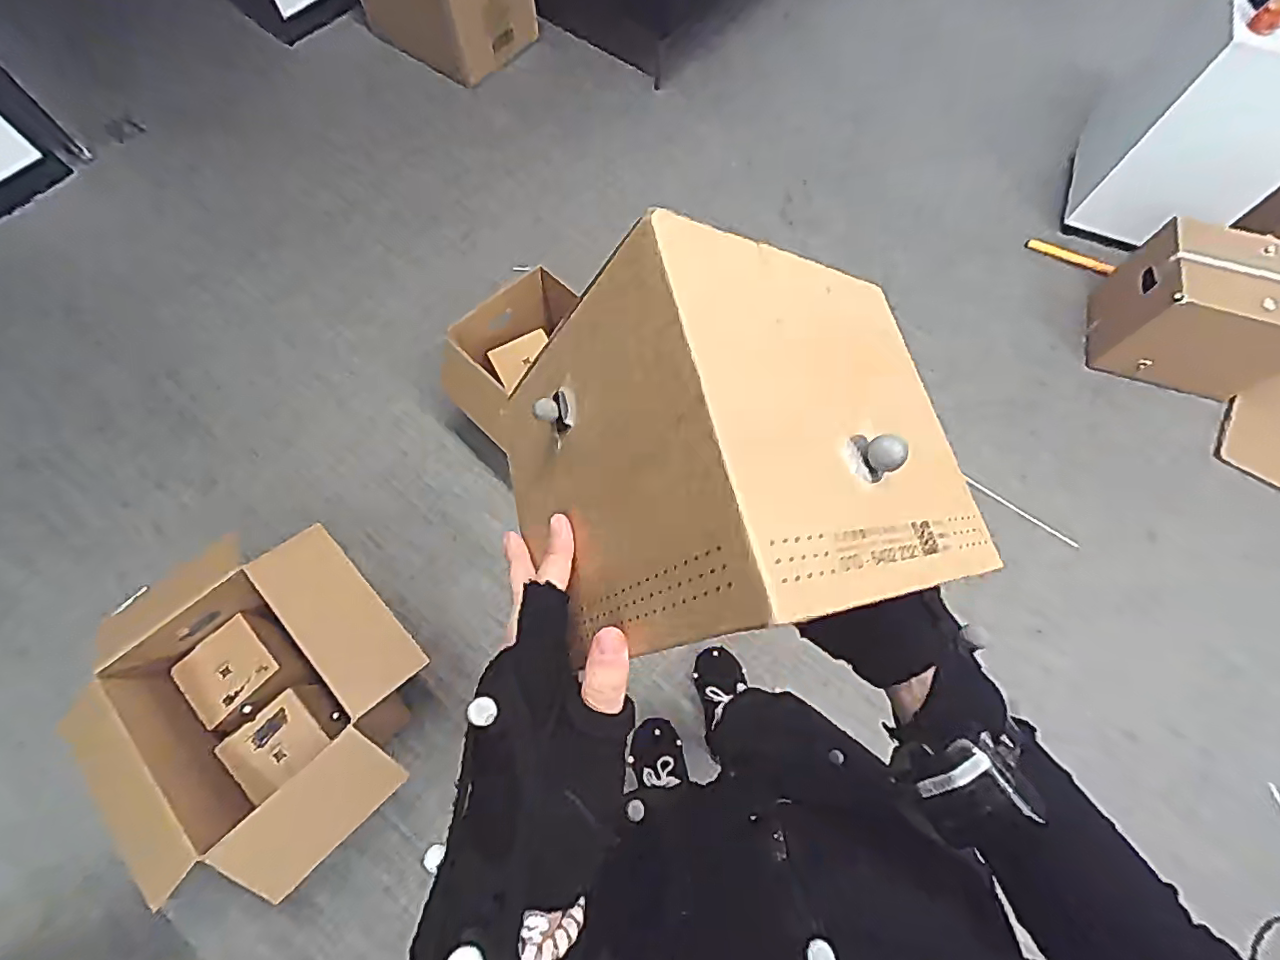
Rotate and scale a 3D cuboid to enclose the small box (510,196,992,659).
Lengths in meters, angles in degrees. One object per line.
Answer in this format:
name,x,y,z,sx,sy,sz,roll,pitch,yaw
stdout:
small box,0.044,-0.006,0.299,0.168,0.179,0.176,-1,69,-37
